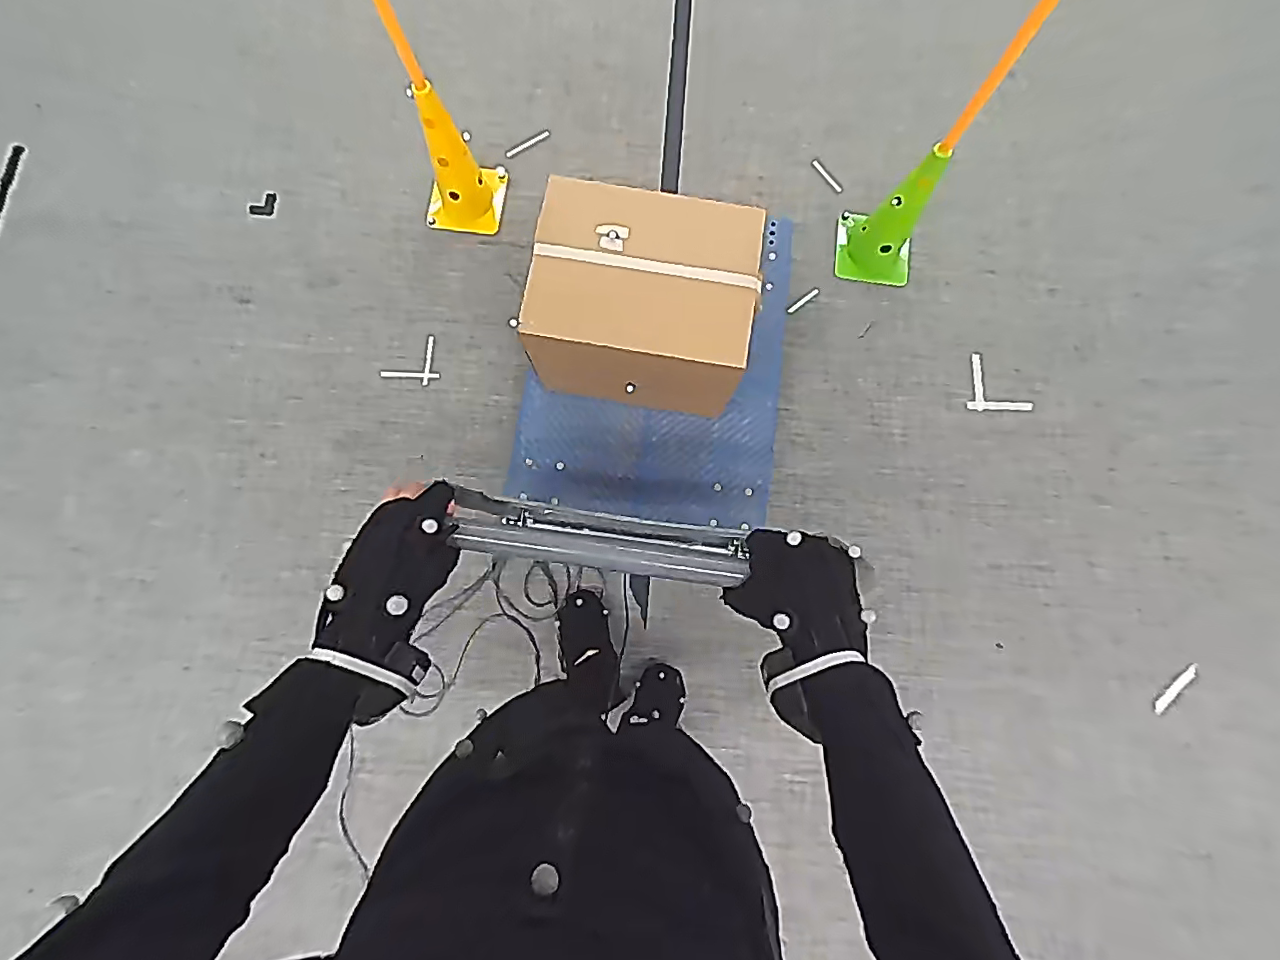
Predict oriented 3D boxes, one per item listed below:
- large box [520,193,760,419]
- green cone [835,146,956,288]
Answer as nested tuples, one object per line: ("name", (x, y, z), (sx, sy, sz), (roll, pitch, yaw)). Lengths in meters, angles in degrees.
("large box", (0.006, -0.335, 1.125), (0.408, 0.320, 0.320), (9, 80, 2))
("green cone", (0.650, -0.666, 1.336), (0.202, 0.368, 0.200), (8, 80, 0))
